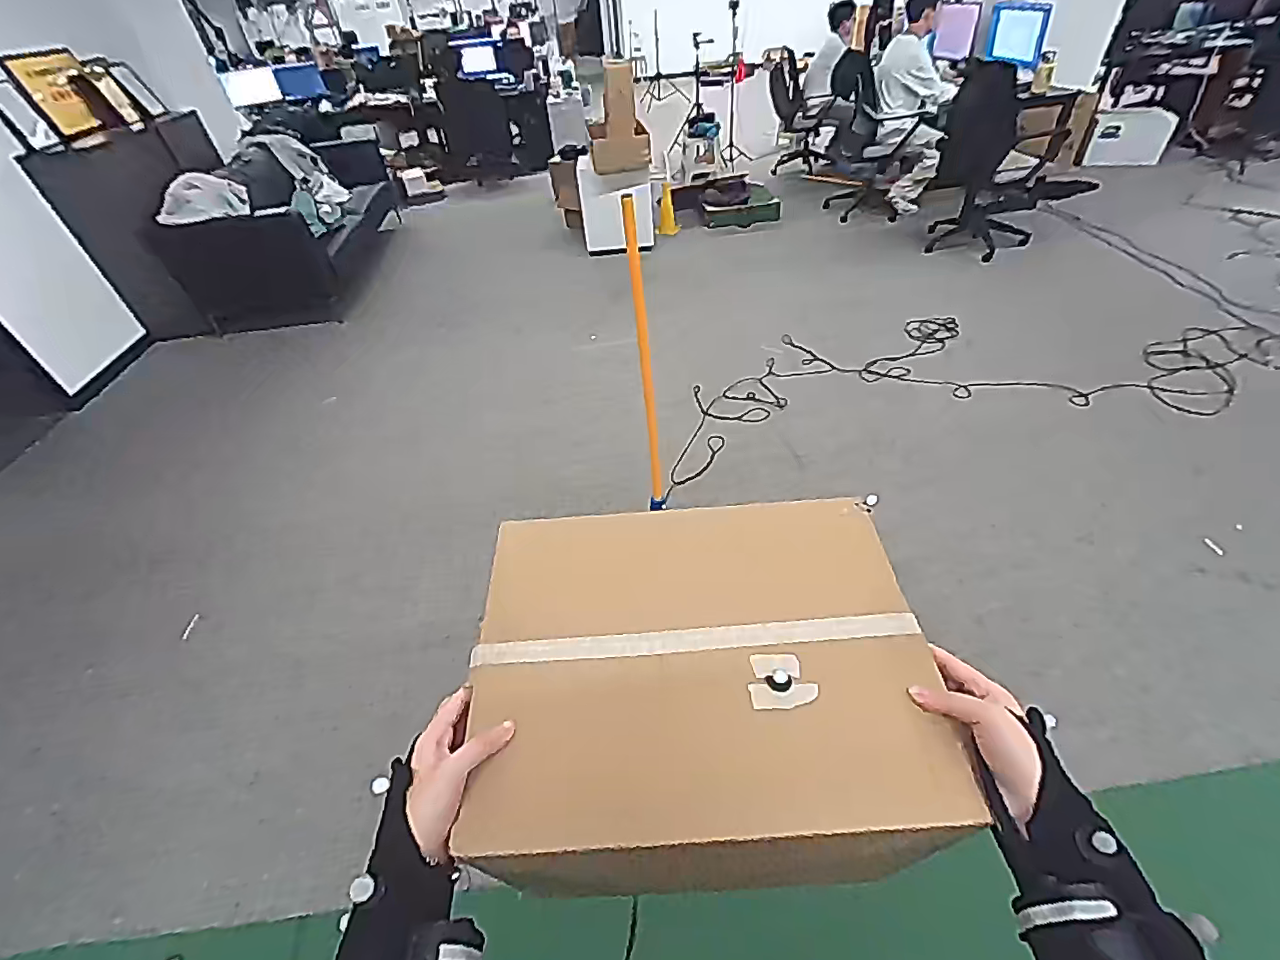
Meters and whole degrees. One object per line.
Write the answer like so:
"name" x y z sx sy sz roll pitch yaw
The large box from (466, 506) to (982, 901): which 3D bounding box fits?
"large box" 0.060 0.255 0.615 0.408 0.320 0.320 -3 48 0
